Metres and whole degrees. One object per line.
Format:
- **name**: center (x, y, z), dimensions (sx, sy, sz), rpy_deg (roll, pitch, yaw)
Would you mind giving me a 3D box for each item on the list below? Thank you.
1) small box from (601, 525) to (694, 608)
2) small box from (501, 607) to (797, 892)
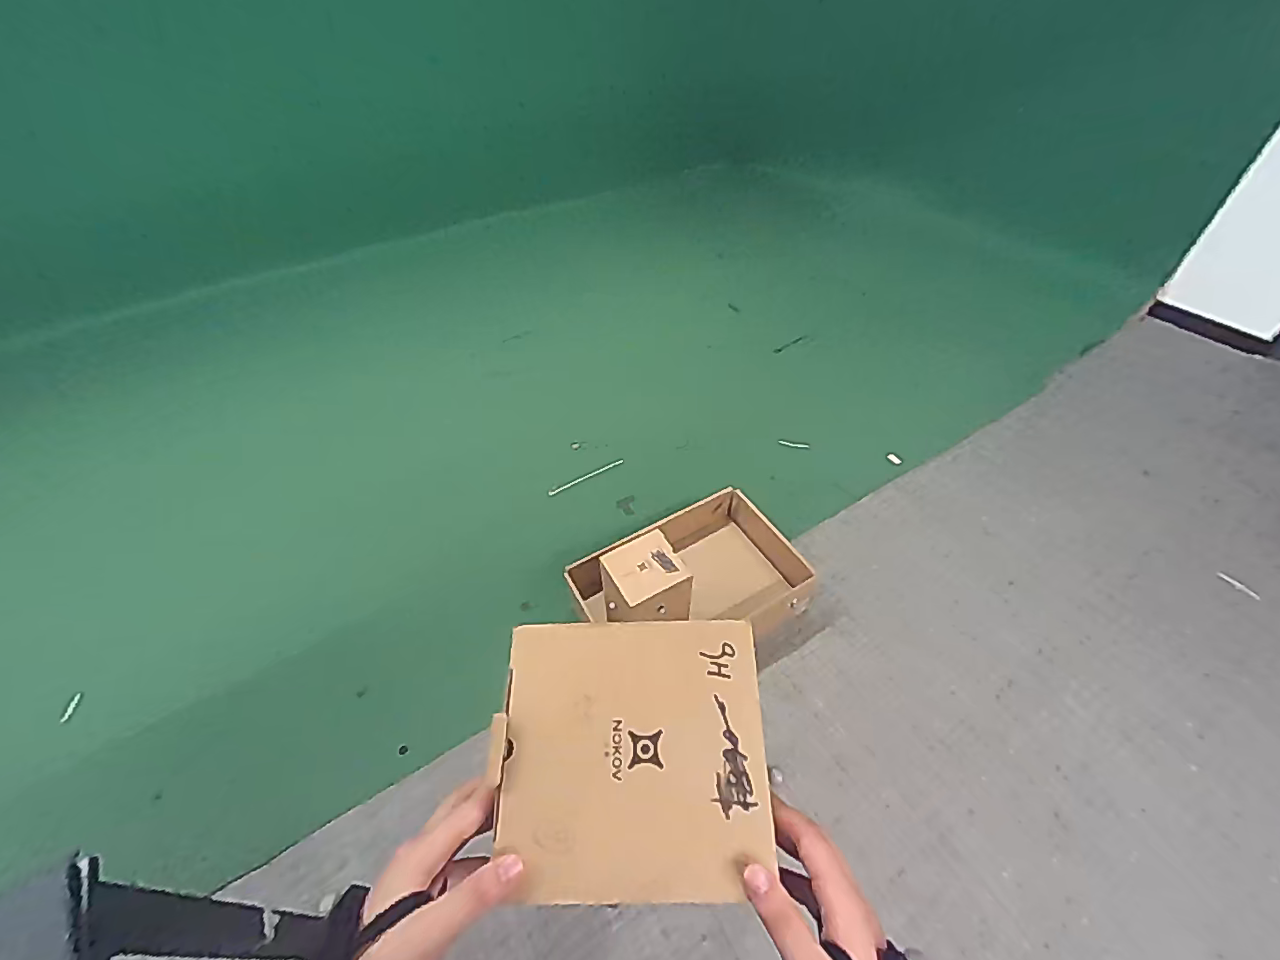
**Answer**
- **small box**: center (0.016, 0.251, 1.368), dimensions (0.179, 0.176, 0.168), rpy_deg (-24, 52, -19)
- **small box**: center (0.010, 0.202, 0.420), dimensions (0.179, 0.176, 0.168), rpy_deg (-1, 62, 2)
